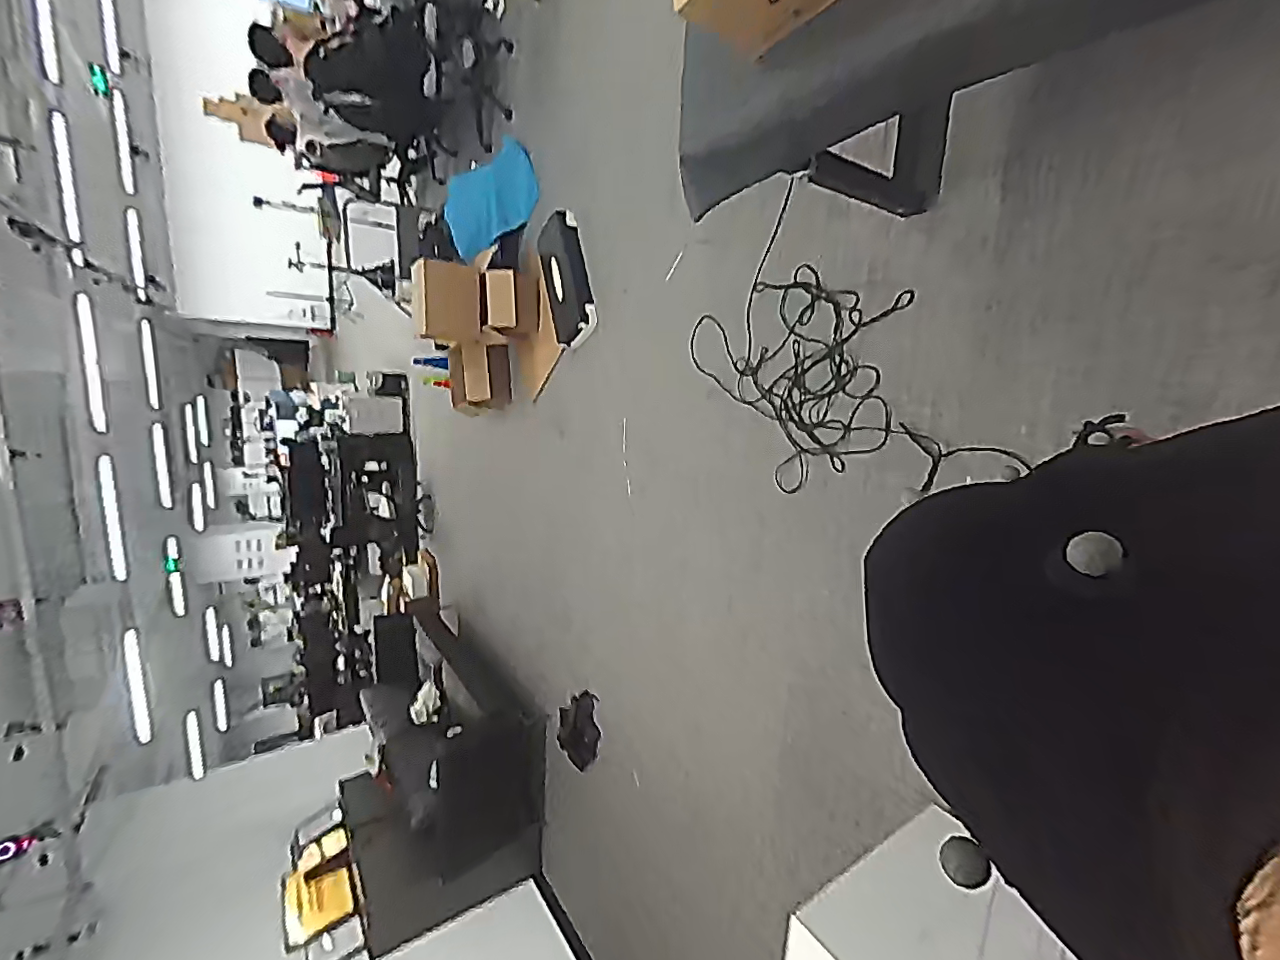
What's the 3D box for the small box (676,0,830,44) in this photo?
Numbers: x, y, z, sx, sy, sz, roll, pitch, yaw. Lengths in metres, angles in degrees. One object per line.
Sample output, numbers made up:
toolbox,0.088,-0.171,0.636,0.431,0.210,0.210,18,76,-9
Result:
small box,0.165,-0.737,0.728,0.168,0.176,0.179,8,99,54
